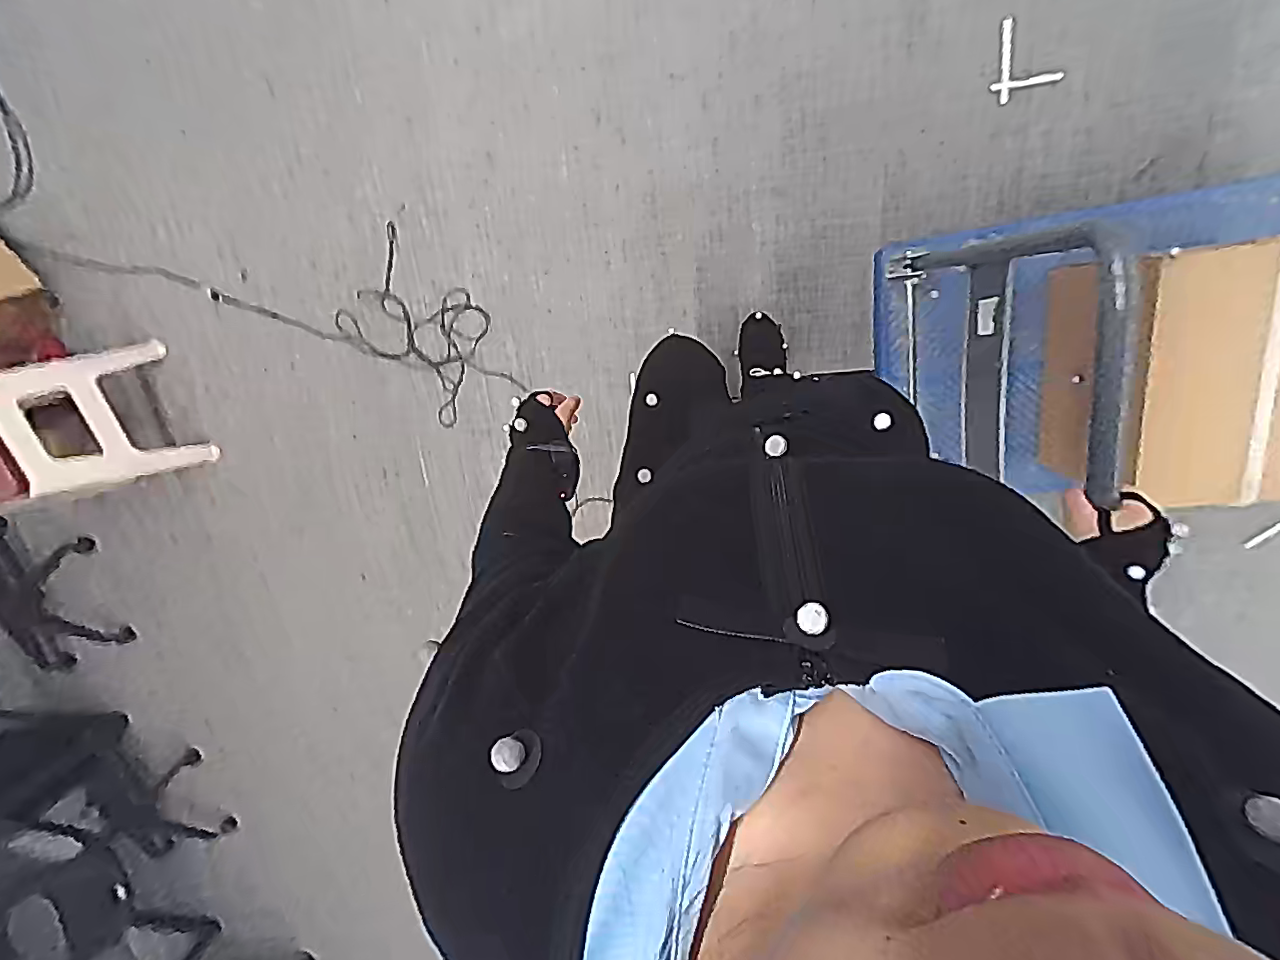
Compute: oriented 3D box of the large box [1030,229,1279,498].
[{"bbox_3d":[0.963,-0.214,0.994,0.320,0.320,0.408,-6,105,10],"label":"large box"}]
